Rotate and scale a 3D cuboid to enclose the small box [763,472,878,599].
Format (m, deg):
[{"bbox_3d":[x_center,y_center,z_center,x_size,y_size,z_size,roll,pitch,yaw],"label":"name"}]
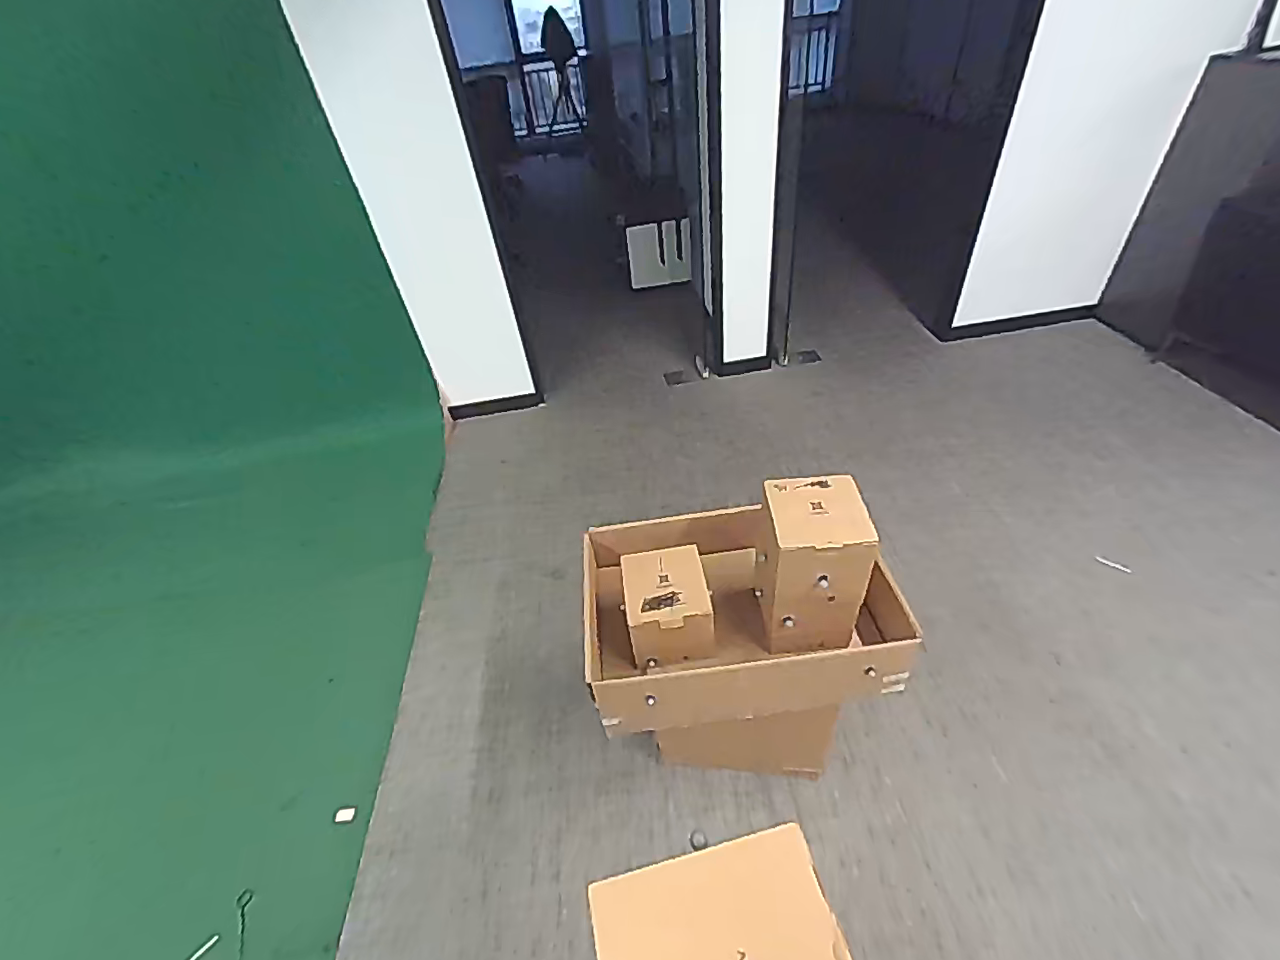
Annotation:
[{"bbox_3d":[0.325,0.109,1.010,0.168,0.176,0.179,-4,42,5],"label":"small box"}]

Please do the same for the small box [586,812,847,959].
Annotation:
[{"bbox_3d":[0.066,0.400,0.439,0.179,0.176,0.168,-13,49,-6],"label":"small box"}]
